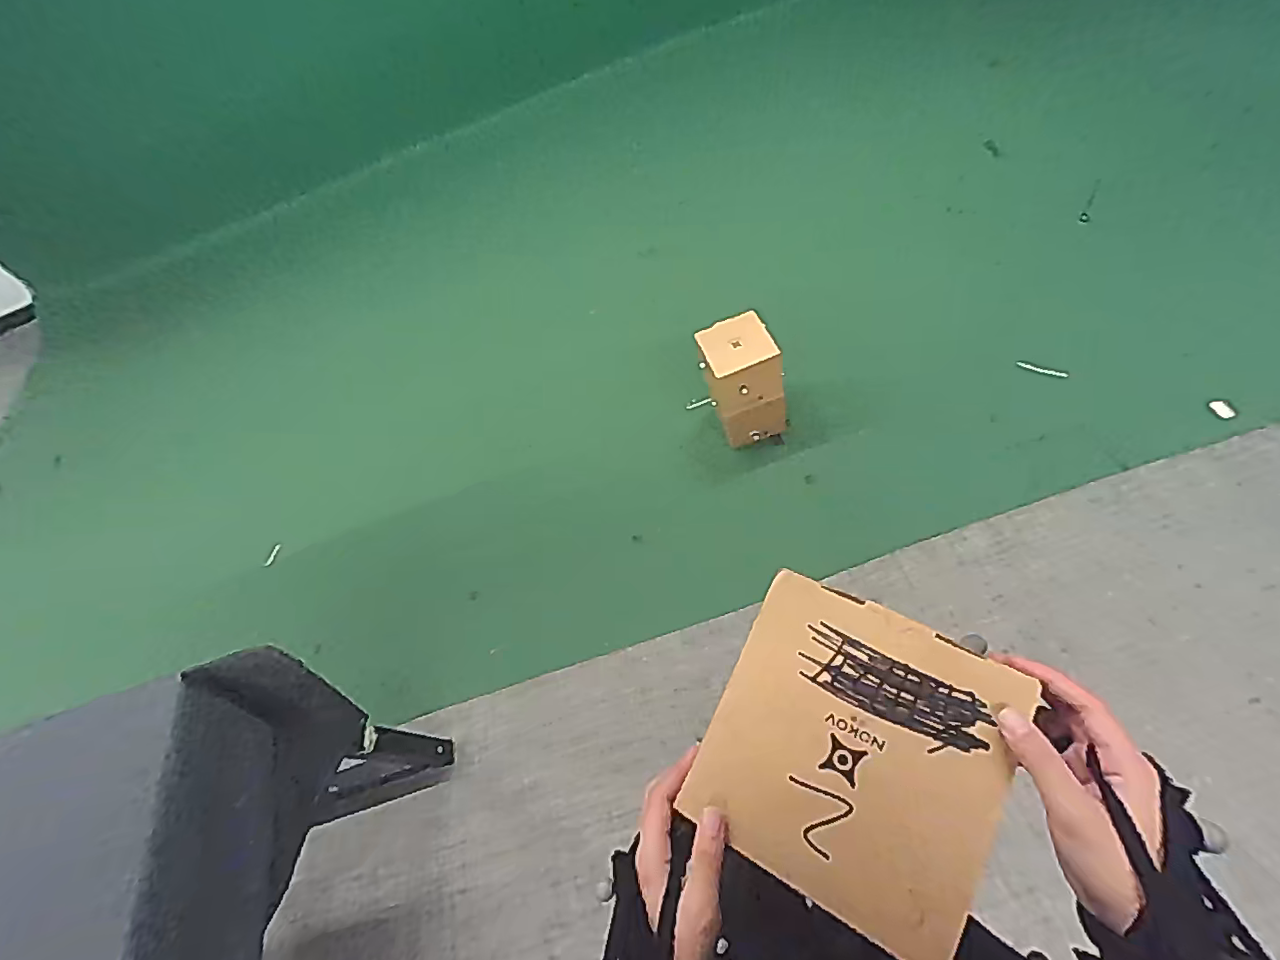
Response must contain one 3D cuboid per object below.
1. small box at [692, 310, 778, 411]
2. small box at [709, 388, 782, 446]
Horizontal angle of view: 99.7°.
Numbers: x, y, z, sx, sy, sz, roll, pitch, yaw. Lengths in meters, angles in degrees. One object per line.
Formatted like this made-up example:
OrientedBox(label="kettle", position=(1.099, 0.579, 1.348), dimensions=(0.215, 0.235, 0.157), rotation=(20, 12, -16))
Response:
OrientedBox(label="small box", position=(0.252, -0.304, 1.417), dimensions=(0.168, 0.176, 0.179), rotation=(-22, 56, 3))
OrientedBox(label="small box", position=(0.299, -0.229, 1.555), dimensions=(0.168, 0.176, 0.179), rotation=(-21, 57, 4))
